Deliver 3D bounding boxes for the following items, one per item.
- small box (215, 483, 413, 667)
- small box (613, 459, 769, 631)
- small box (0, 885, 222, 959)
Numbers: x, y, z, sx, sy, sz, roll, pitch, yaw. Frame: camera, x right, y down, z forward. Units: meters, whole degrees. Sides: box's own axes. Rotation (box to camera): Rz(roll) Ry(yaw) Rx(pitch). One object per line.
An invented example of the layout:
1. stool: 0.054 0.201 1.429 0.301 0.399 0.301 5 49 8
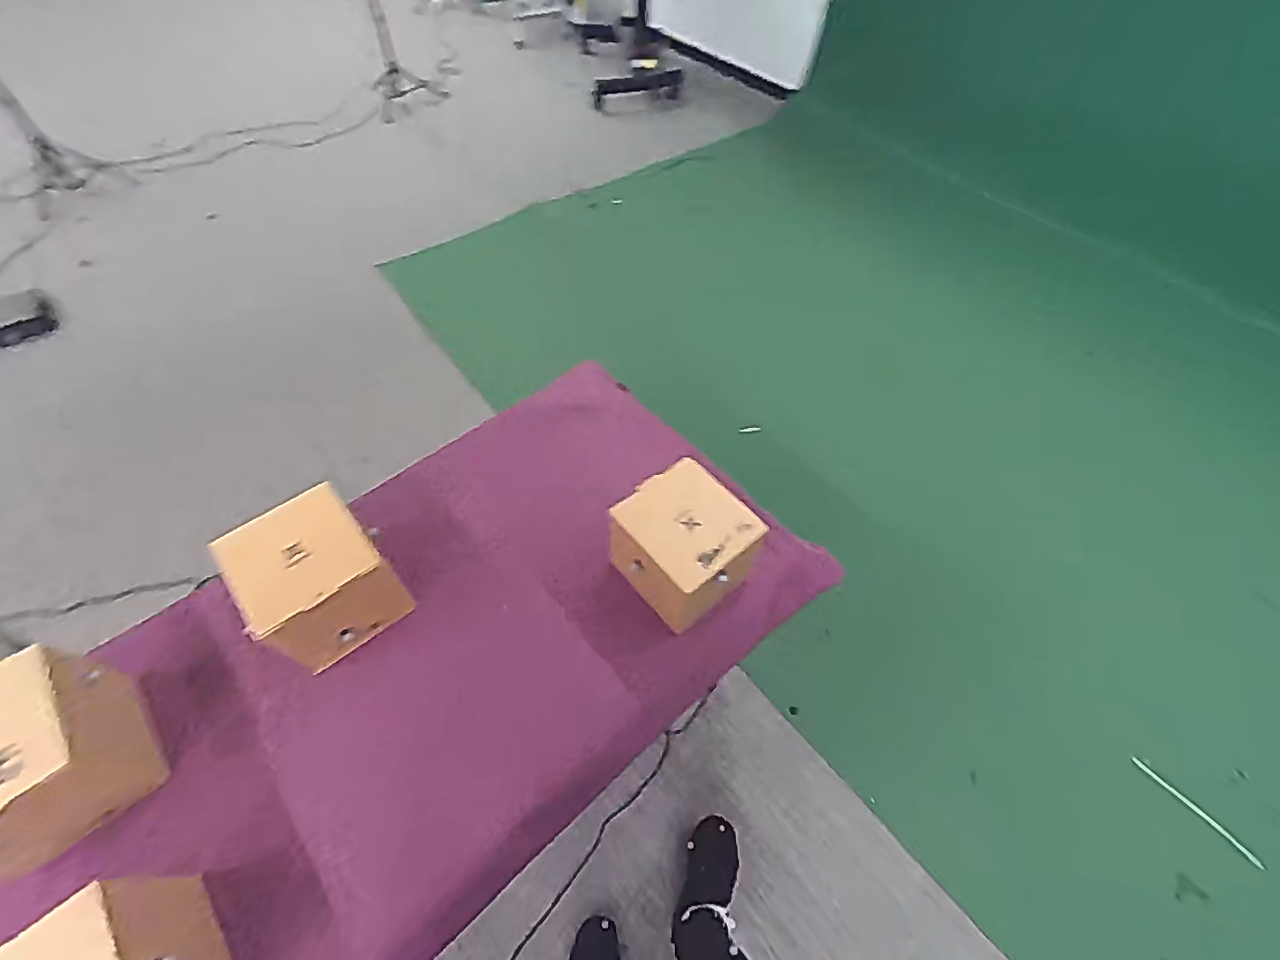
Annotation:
1. small box: -0.471 0.145 0.803 0.168 0.176 0.179 -35 66 -24
2. small box: 0.072 0.106 0.858 0.168 0.176 0.179 -34 62 -22
3. small box: -0.539 0.535 0.528 0.168 0.176 0.179 -35 63 -25
